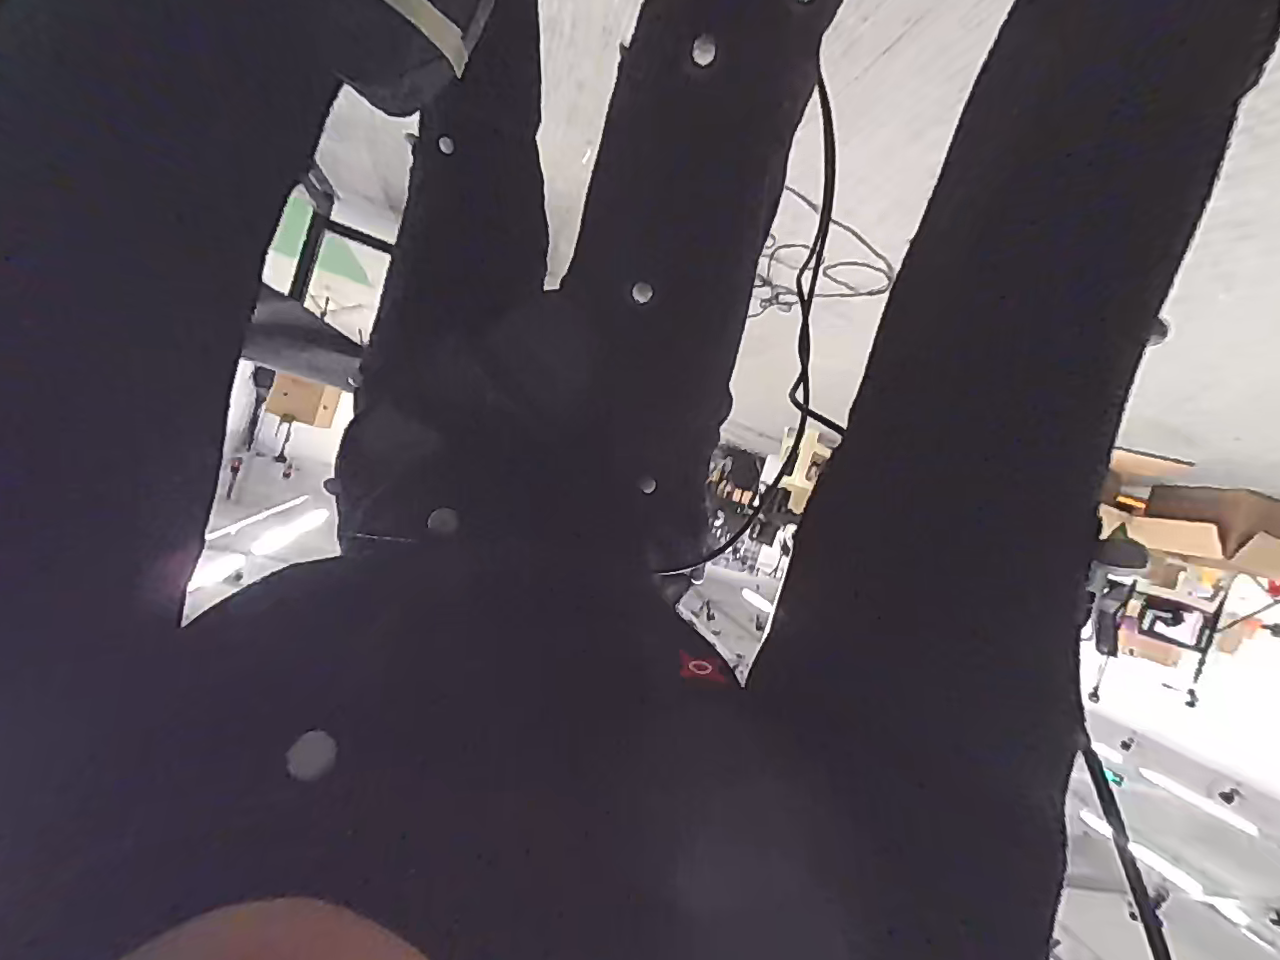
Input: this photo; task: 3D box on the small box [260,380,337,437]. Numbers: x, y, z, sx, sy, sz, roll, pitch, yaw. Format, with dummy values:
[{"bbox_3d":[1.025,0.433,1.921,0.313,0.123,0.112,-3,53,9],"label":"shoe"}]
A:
[{"bbox_3d":[-1.253,-0.263,1.992,0.168,0.176,0.179,18,-179,-10],"label":"small box"}]
